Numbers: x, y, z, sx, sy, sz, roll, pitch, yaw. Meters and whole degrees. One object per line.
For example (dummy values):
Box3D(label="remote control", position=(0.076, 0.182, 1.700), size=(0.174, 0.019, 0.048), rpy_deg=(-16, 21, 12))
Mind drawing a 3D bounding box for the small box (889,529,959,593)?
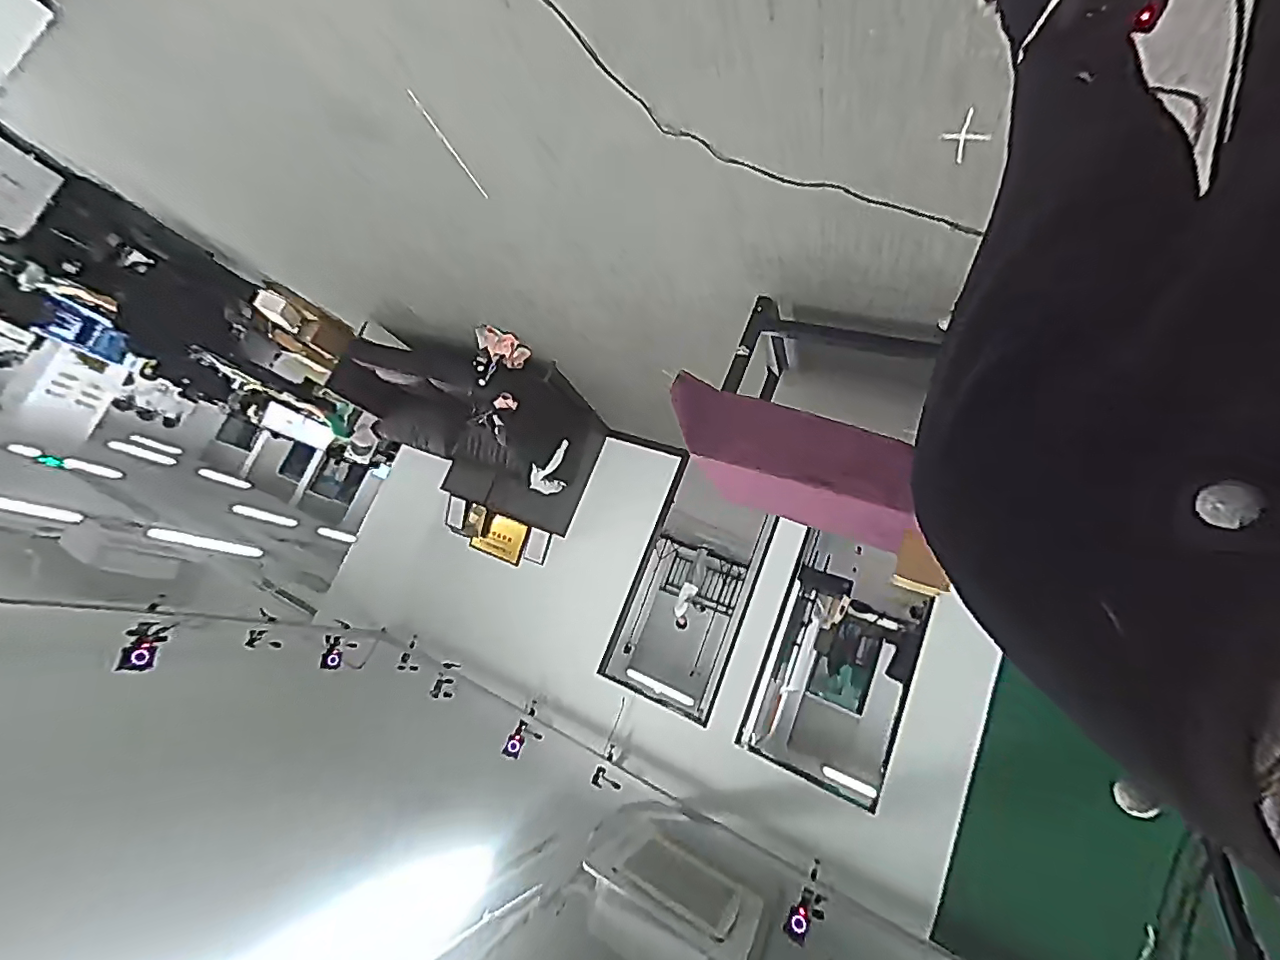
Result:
Box3D(label="small box", position=(1.022, 0.289, 1.951), size=(0.179, 0.176, 0.168), rpy_deg=(18, 169, 27))
